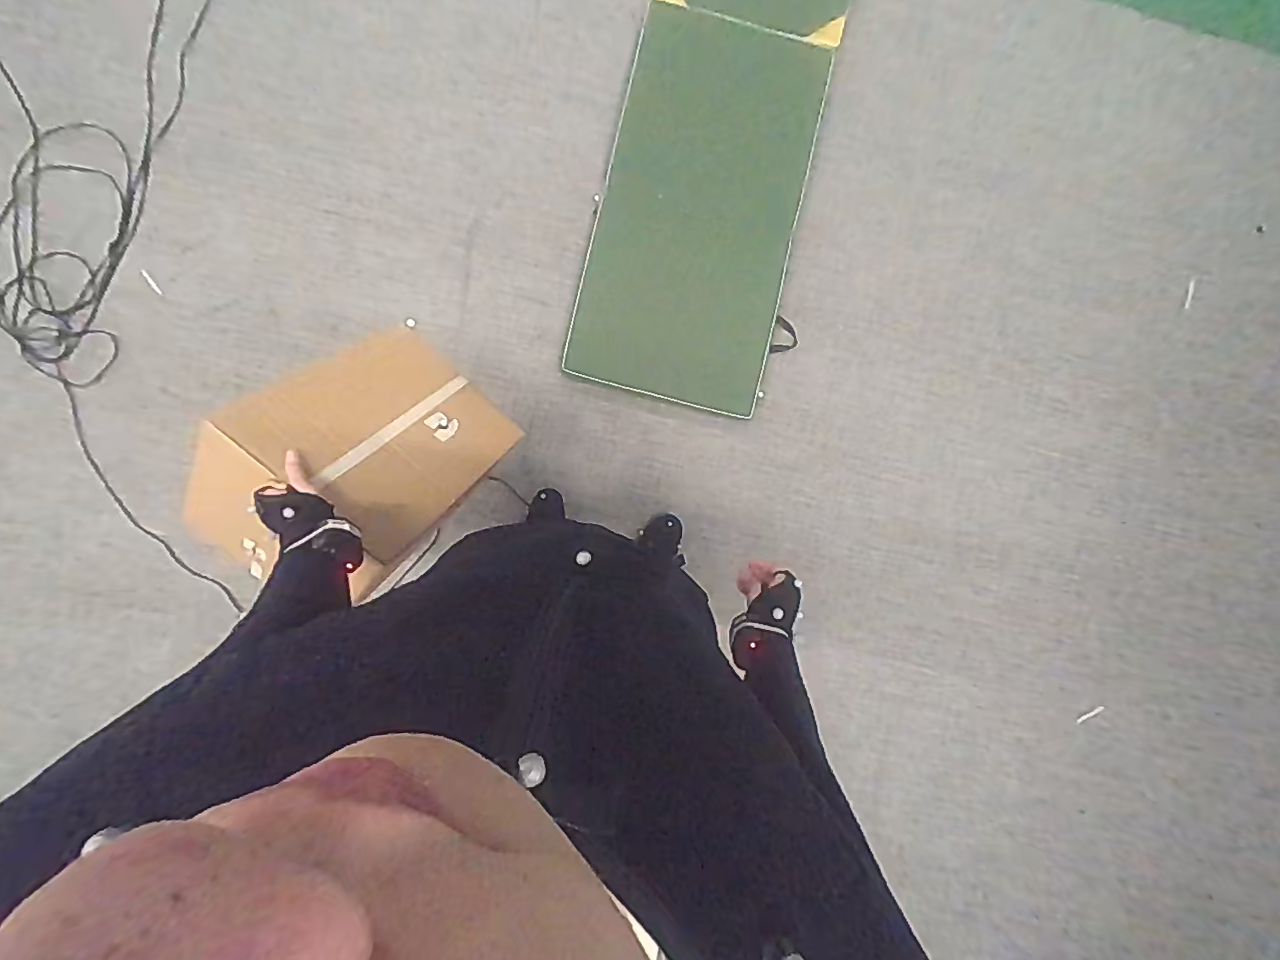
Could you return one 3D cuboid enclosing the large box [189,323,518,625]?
[{"bbox_3d":[-0.506,-0.016,1.001,0.320,0.408,0.320,44,128,-11],"label":"large box"}]
